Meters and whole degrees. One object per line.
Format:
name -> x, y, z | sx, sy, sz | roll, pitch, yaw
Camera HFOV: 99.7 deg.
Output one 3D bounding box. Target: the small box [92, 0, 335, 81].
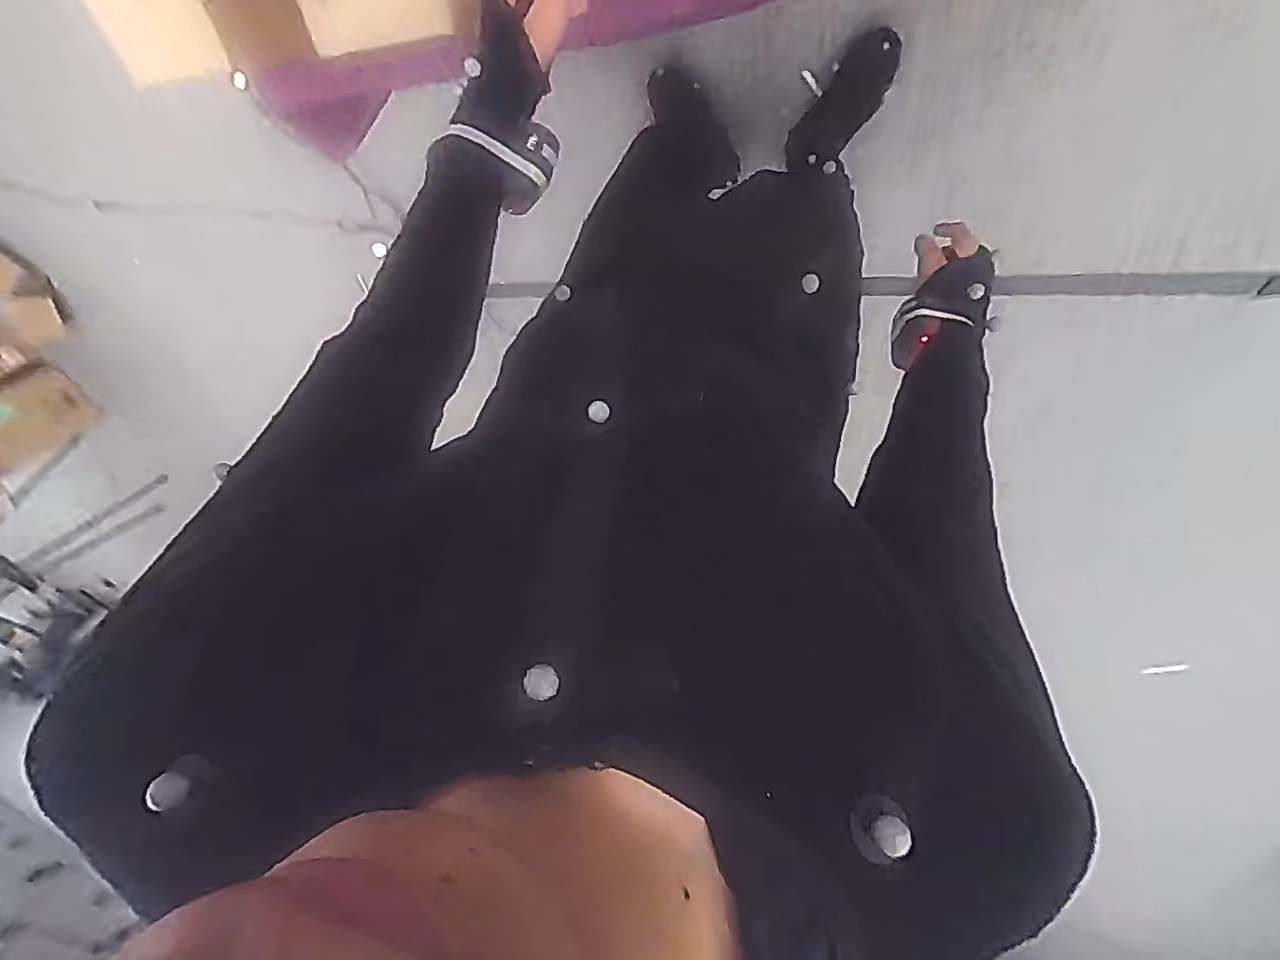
small box -> -0.508, -0.582, 0.628 | 0.179, 0.176, 0.168 | 8, 134, 19
